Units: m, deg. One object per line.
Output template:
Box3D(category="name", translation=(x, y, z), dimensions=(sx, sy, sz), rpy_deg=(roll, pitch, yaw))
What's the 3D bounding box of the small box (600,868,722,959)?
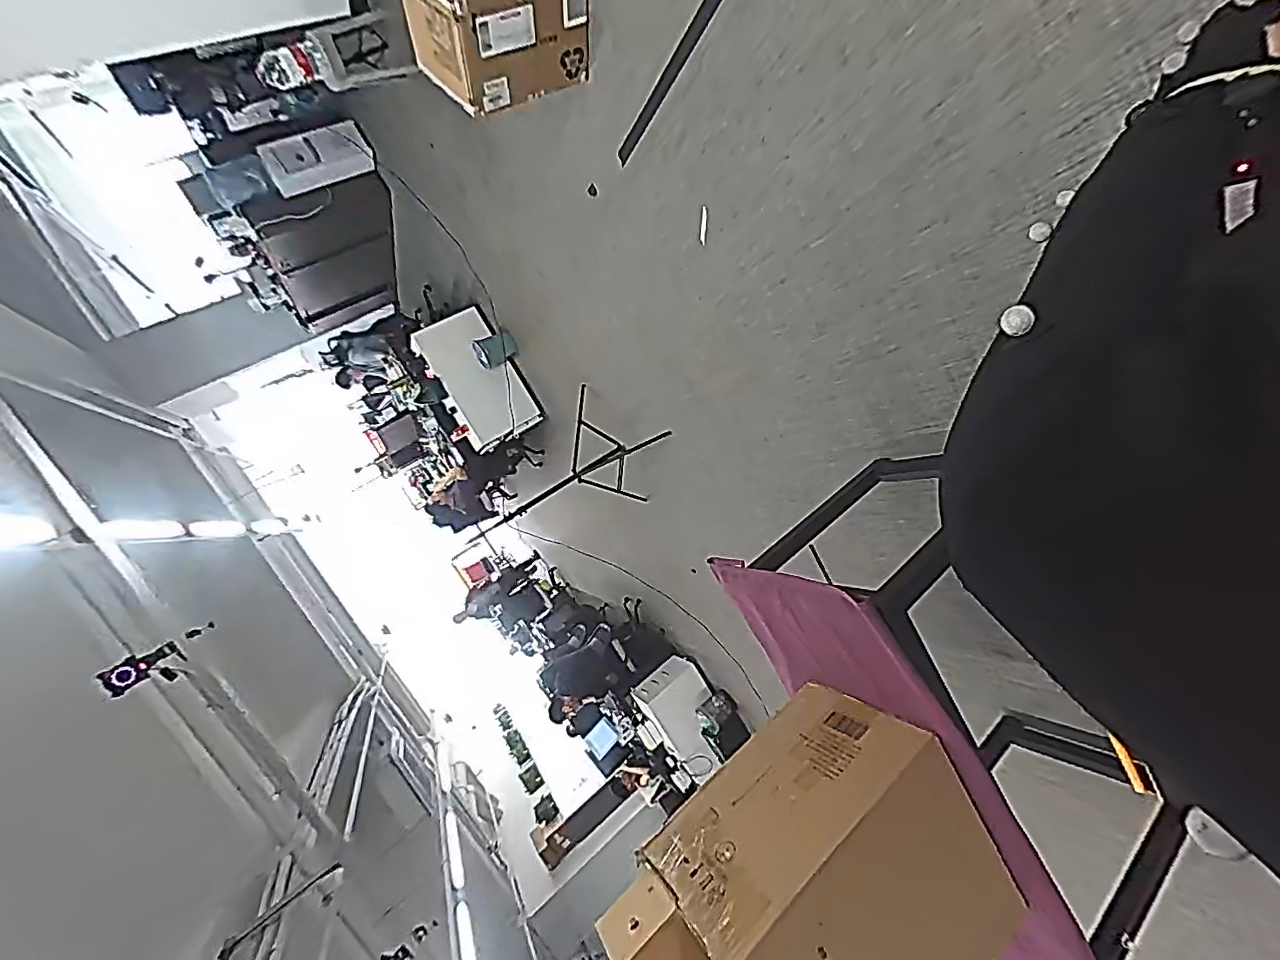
Box3D(category="small box", translation=(0.046, 1.016, 1.192), dimensions=(0.179, 0.176, 0.168), rpy_deg=(55, 159, -5))
